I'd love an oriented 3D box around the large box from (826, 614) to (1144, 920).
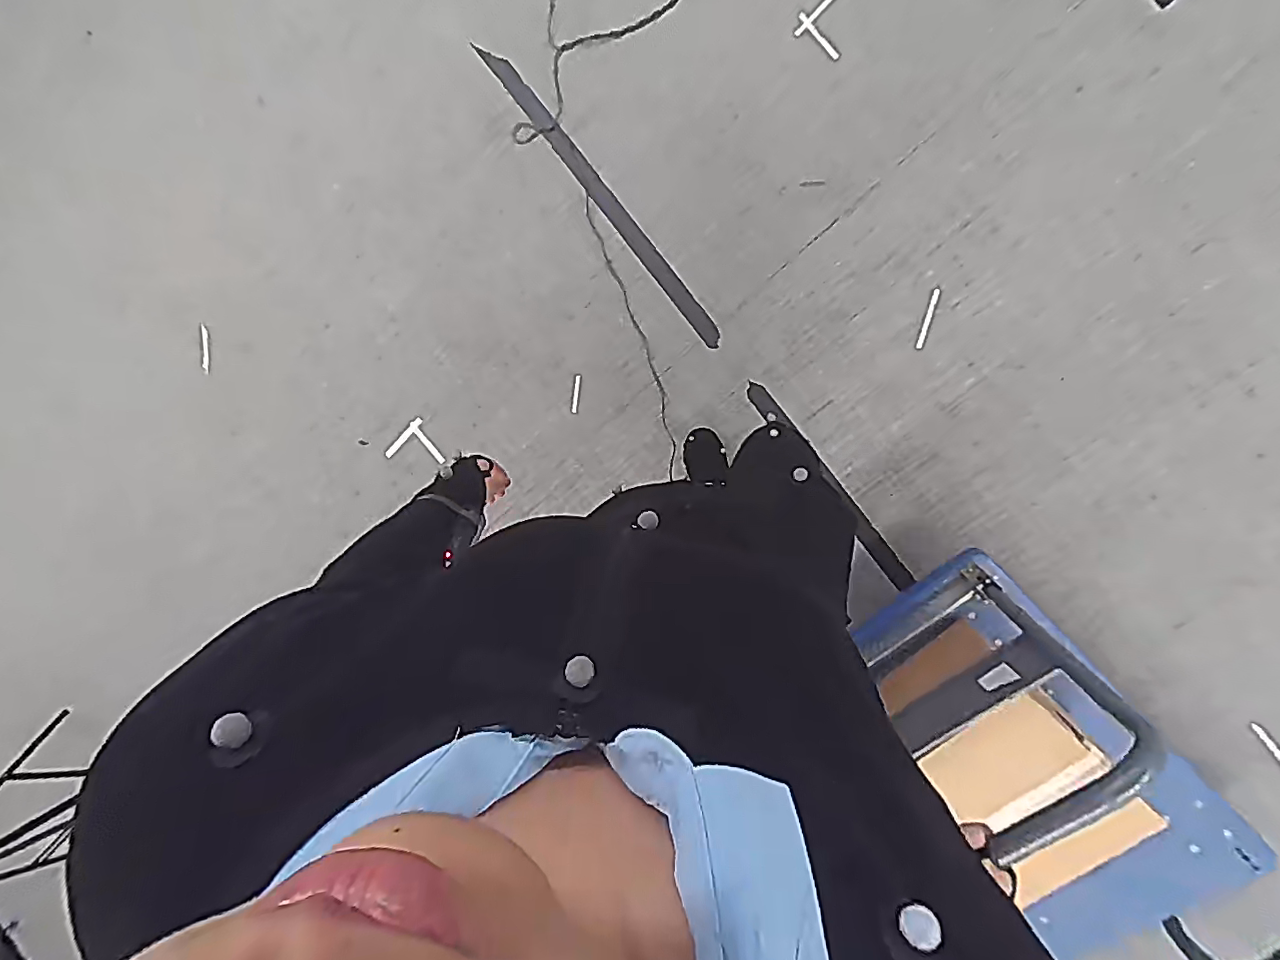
[{"bbox_3d":[0.648,0.557,1.108,0.320,0.320,0.408,44,107,5],"label":"large box"}]
